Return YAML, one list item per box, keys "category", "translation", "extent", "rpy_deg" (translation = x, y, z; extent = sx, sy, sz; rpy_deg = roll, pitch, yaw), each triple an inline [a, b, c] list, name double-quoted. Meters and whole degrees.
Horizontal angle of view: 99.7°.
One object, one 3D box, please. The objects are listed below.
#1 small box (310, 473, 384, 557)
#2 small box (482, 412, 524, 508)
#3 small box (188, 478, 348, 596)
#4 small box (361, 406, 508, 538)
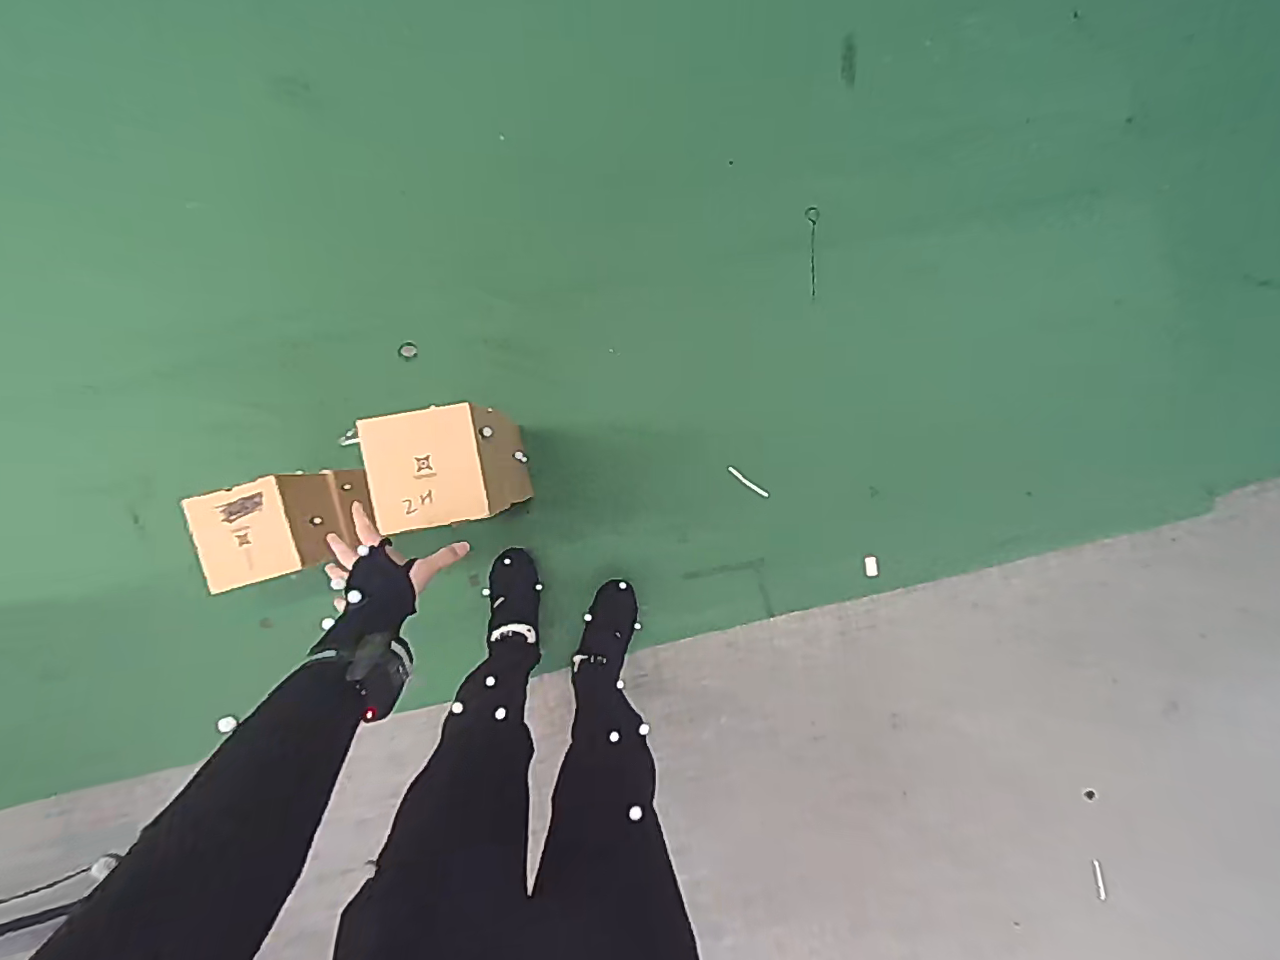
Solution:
- category: "small box"
  translation: [-0.692, 0.085, 1.189]
  extent: [0.168, 0.176, 0.179]
  rpy_deg: [-12, 92, -2]
- category: "small box"
  translation: [-0.326, -0.025, 1.037]
  extent: [0.168, 0.176, 0.179]
  rpy_deg: [-10, 92, -3]
- category: "small box"
  translation: [-0.691, 0.099, 1.025]
  extent: [0.168, 0.176, 0.179]
  rpy_deg: [-15, 93, -2]
- category: "small box"
  translation: [-0.319, -0.014, 0.873]
  extent: [0.168, 0.176, 0.179]
  rpy_deg: [-9, 93, -3]
